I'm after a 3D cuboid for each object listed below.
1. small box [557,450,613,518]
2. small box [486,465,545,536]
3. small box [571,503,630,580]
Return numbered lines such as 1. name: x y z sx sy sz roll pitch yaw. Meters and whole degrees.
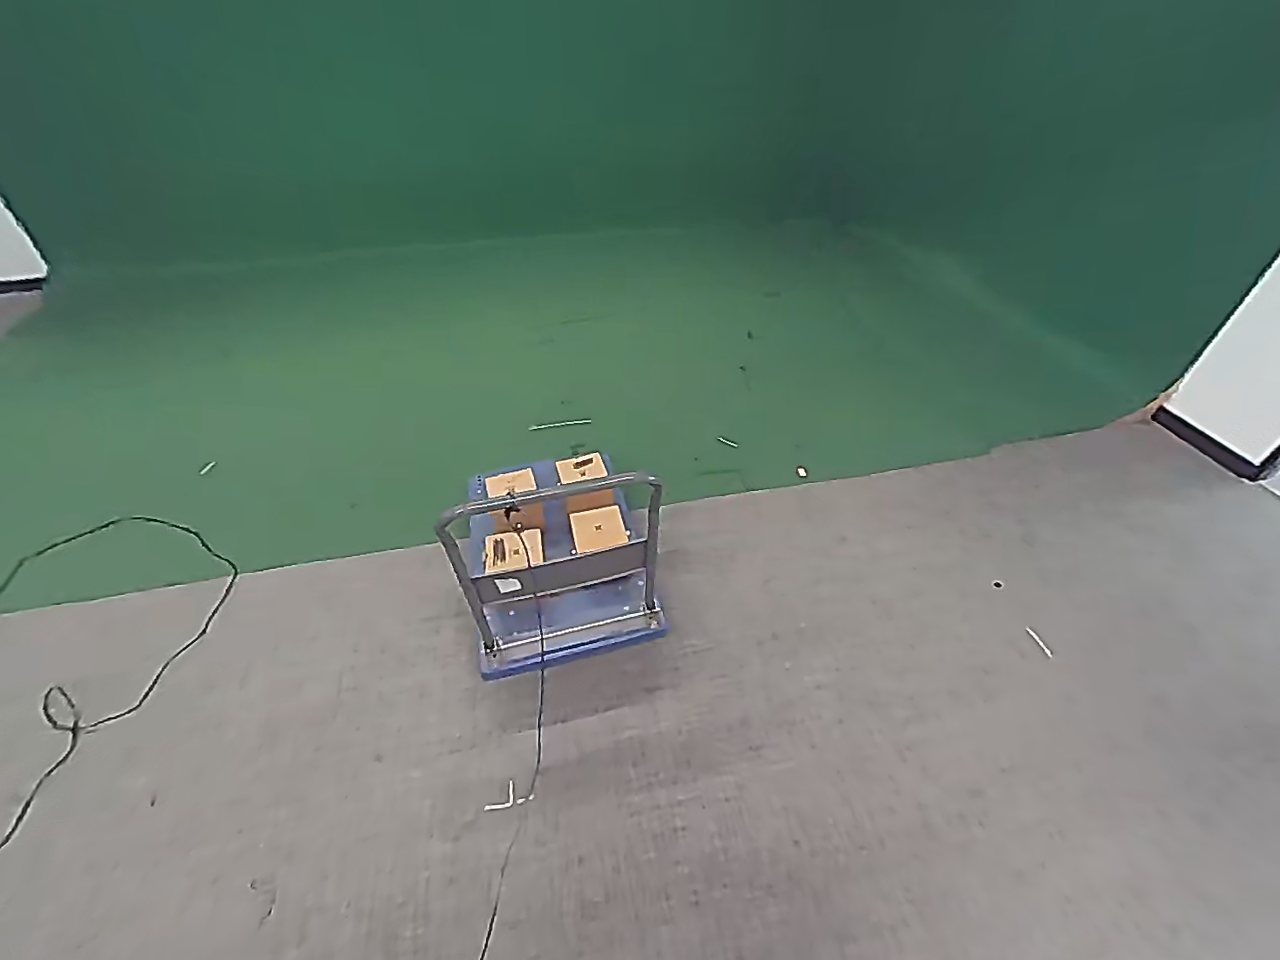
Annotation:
1. small box: -0.200 0.020 1.970 0.168 0.176 0.179 -14 47 -12
2. small box: -0.438 0.078 1.913 0.168 0.176 0.179 -13 46 -13
3. small box: -0.132 0.203 1.783 0.168 0.176 0.179 -10 46 -9
